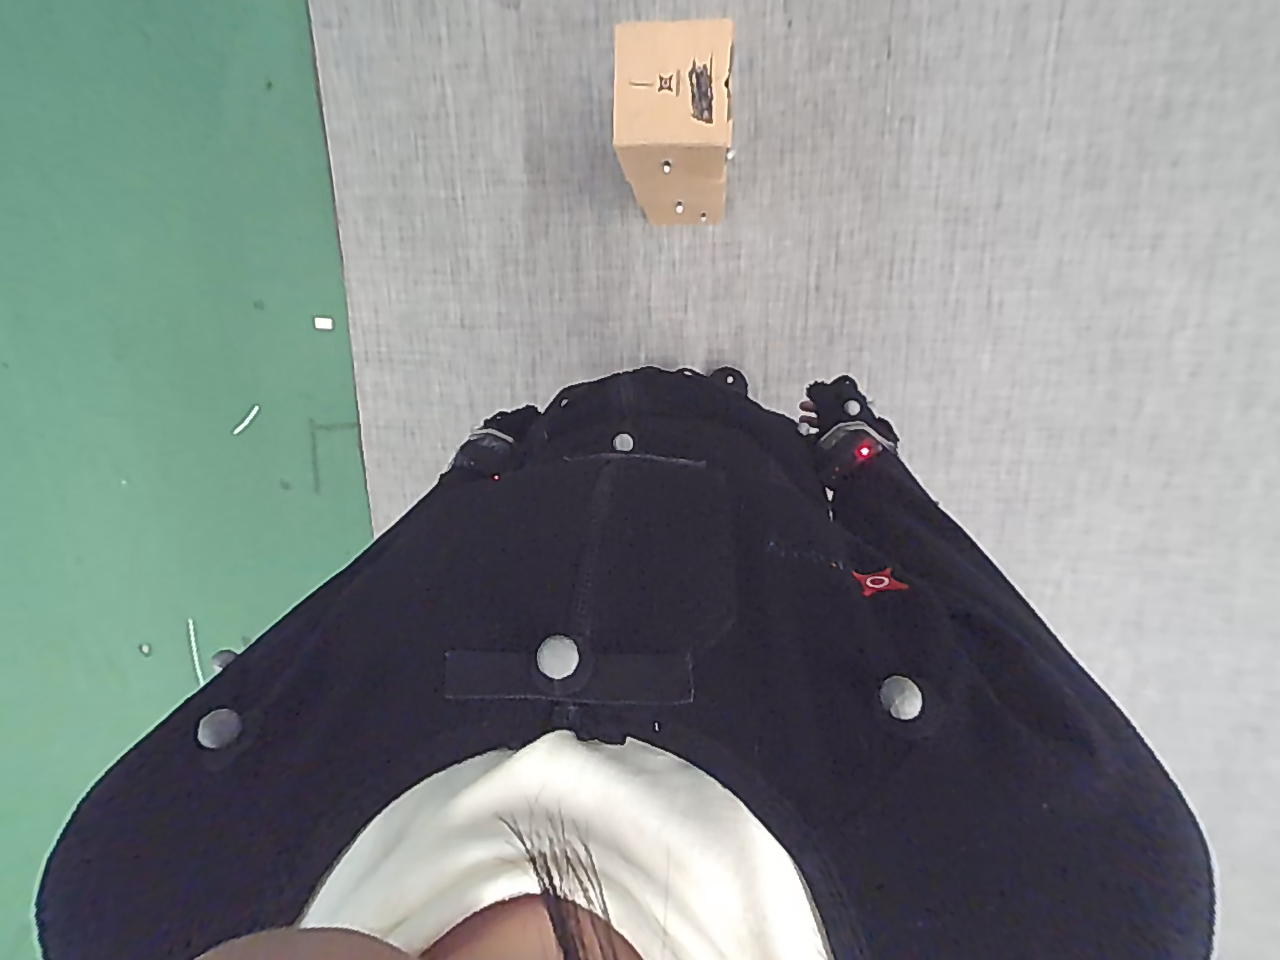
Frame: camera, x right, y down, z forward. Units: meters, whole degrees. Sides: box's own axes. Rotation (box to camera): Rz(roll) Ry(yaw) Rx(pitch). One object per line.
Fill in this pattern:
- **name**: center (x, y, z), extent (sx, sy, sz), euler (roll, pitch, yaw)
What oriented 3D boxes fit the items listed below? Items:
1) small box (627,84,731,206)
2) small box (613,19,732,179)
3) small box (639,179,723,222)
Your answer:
- **small box**: center (0.075, -0.641, 1.043), extent (0.179, 0.176, 0.168), euler (5, 103, 5)
- **small box**: center (0.053, -0.607, 0.883), extent (0.179, 0.176, 0.168), euler (0, 103, 5)
- **small box**: center (0.095, -0.683, 1.200), extent (0.179, 0.176, 0.168), euler (2, 102, 8)
